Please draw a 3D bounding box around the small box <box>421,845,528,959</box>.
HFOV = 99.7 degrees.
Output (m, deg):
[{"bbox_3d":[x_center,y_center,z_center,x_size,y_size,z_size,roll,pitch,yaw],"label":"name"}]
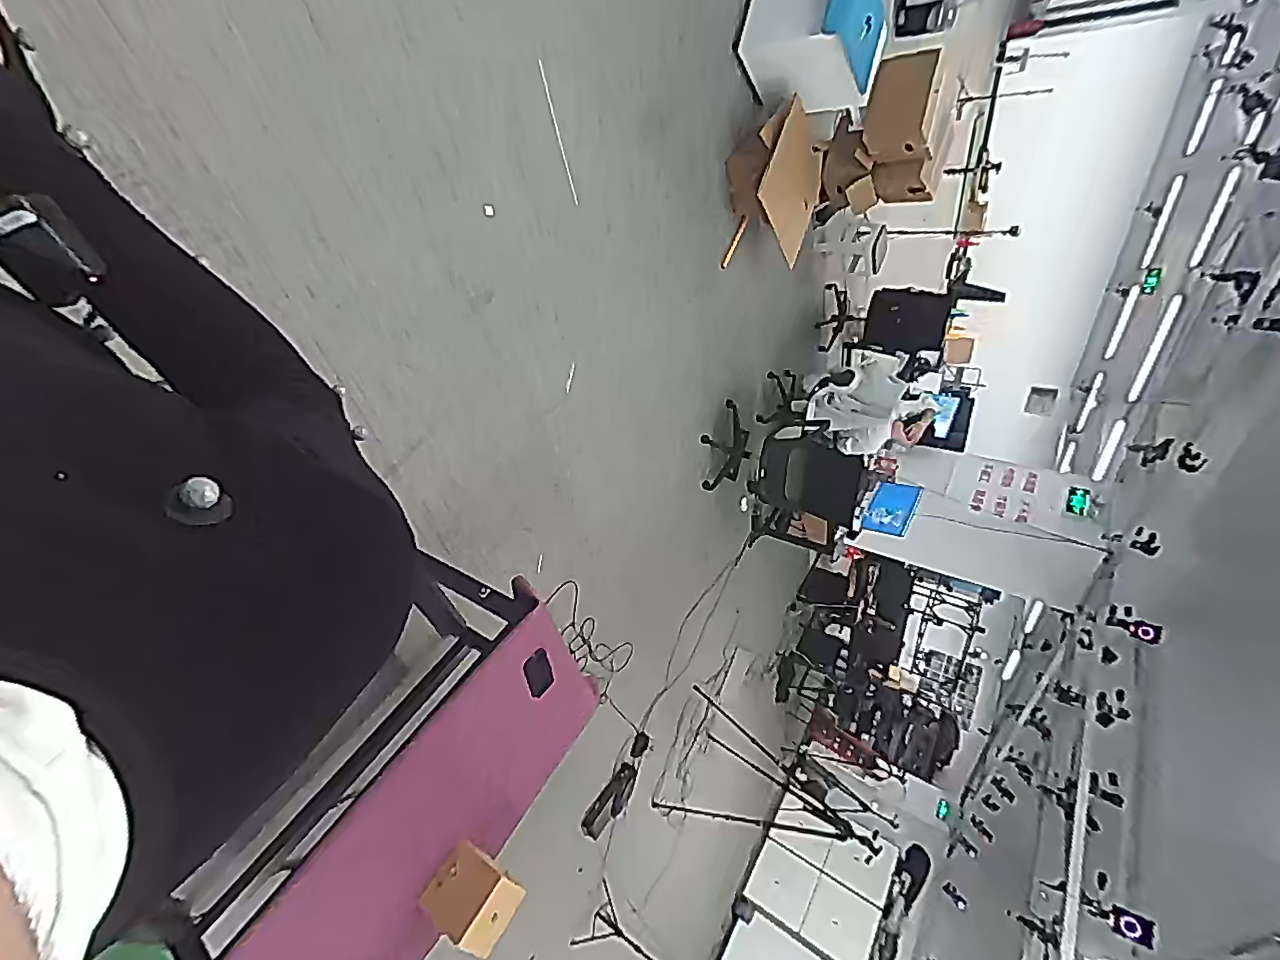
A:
[{"bbox_3d":[-0.428,1.095,1.406,0.168,0.176,0.179,-51,140,-33],"label":"small box"}]
